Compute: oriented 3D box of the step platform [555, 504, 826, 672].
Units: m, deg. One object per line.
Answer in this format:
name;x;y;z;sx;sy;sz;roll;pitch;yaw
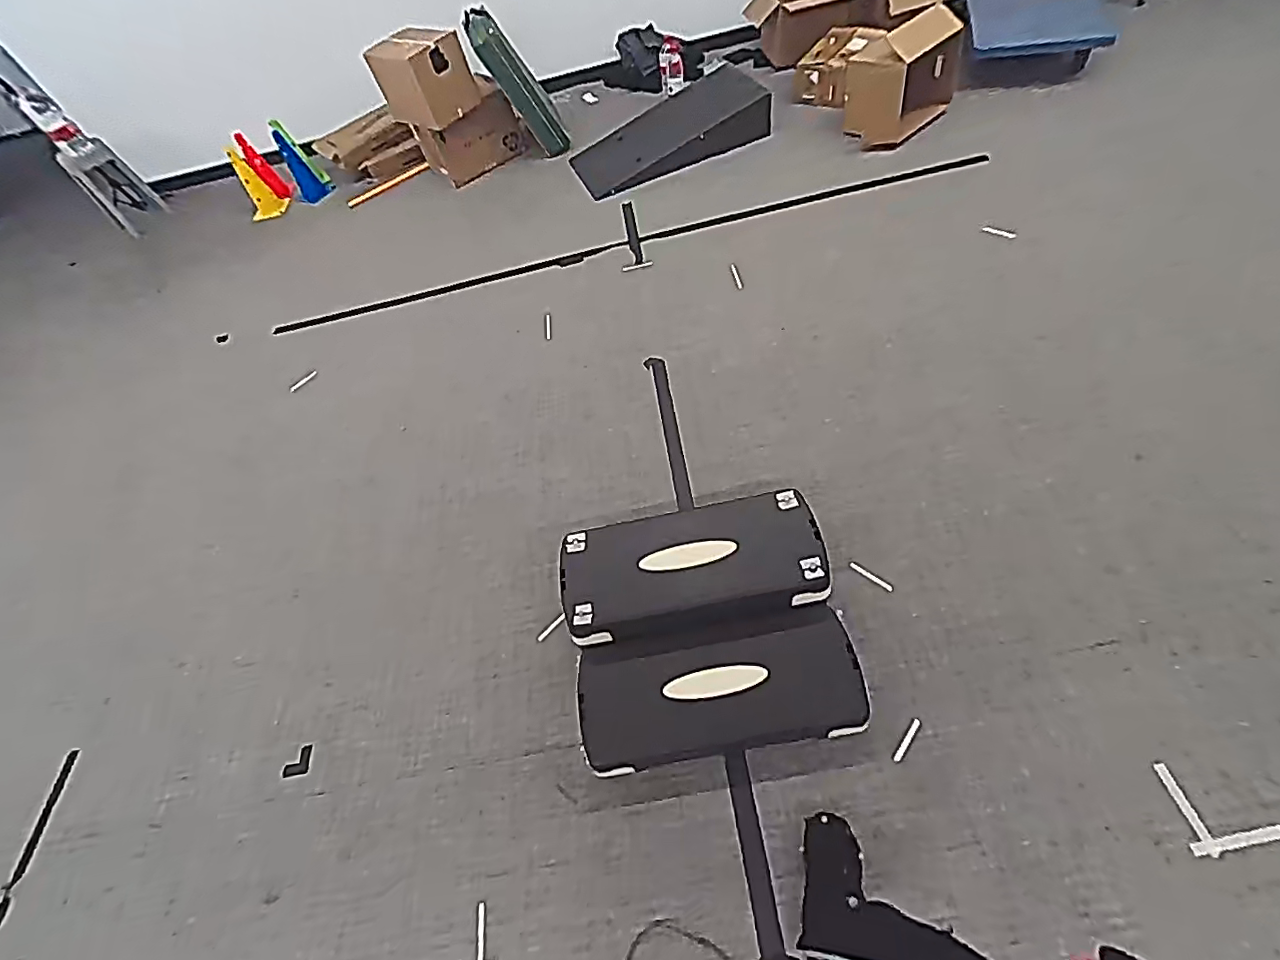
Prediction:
step platform;0.122;0.280;1.418;0.684;0.204;0.286;-12;55;2
